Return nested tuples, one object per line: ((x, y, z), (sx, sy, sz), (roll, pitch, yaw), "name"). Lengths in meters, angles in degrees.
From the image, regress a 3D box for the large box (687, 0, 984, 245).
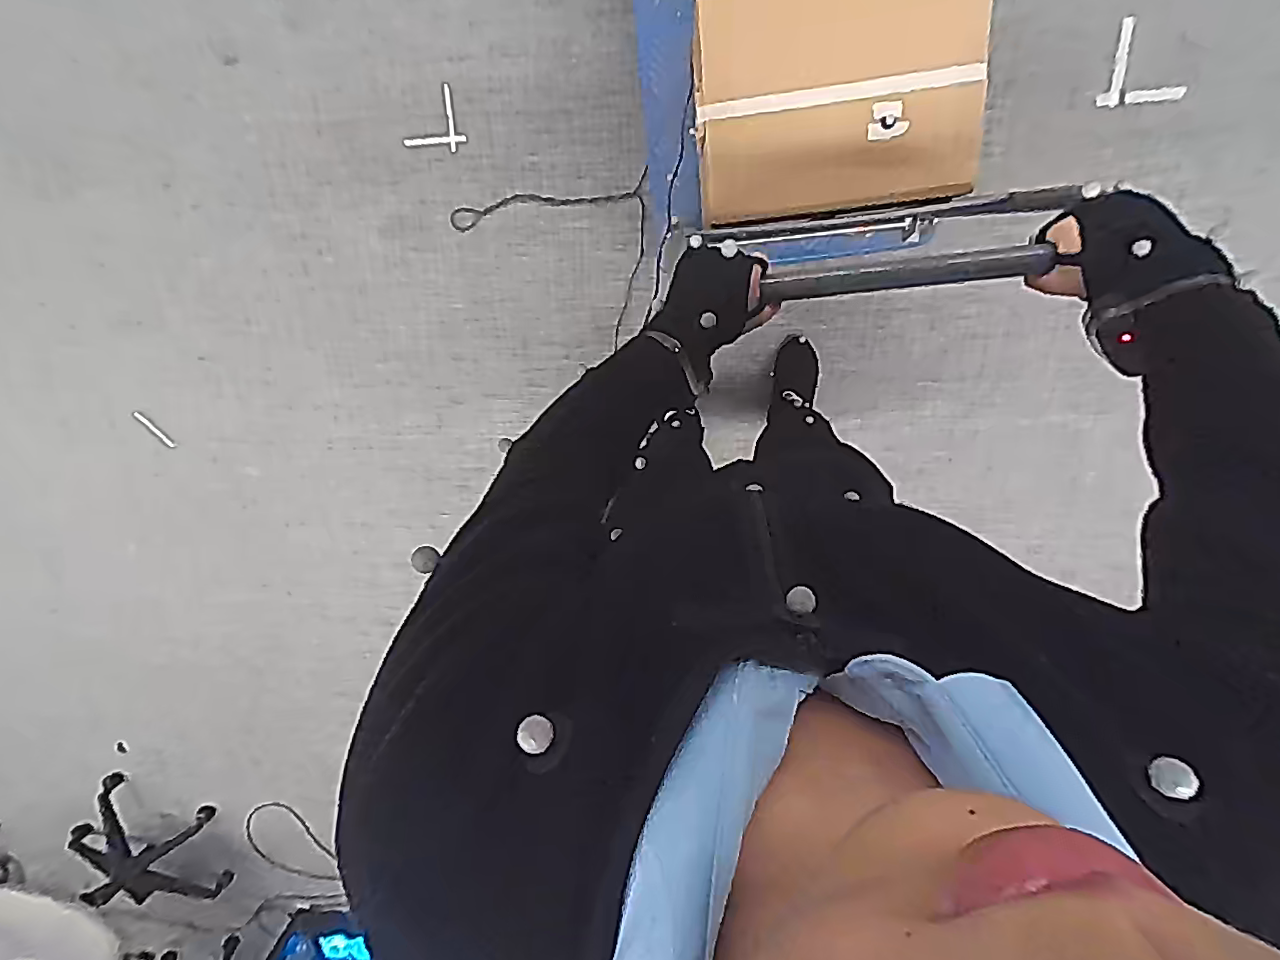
((0.298, -0.607, 0.937), (0.408, 0.320, 0.320), (-5, 111, 5), "large box")
